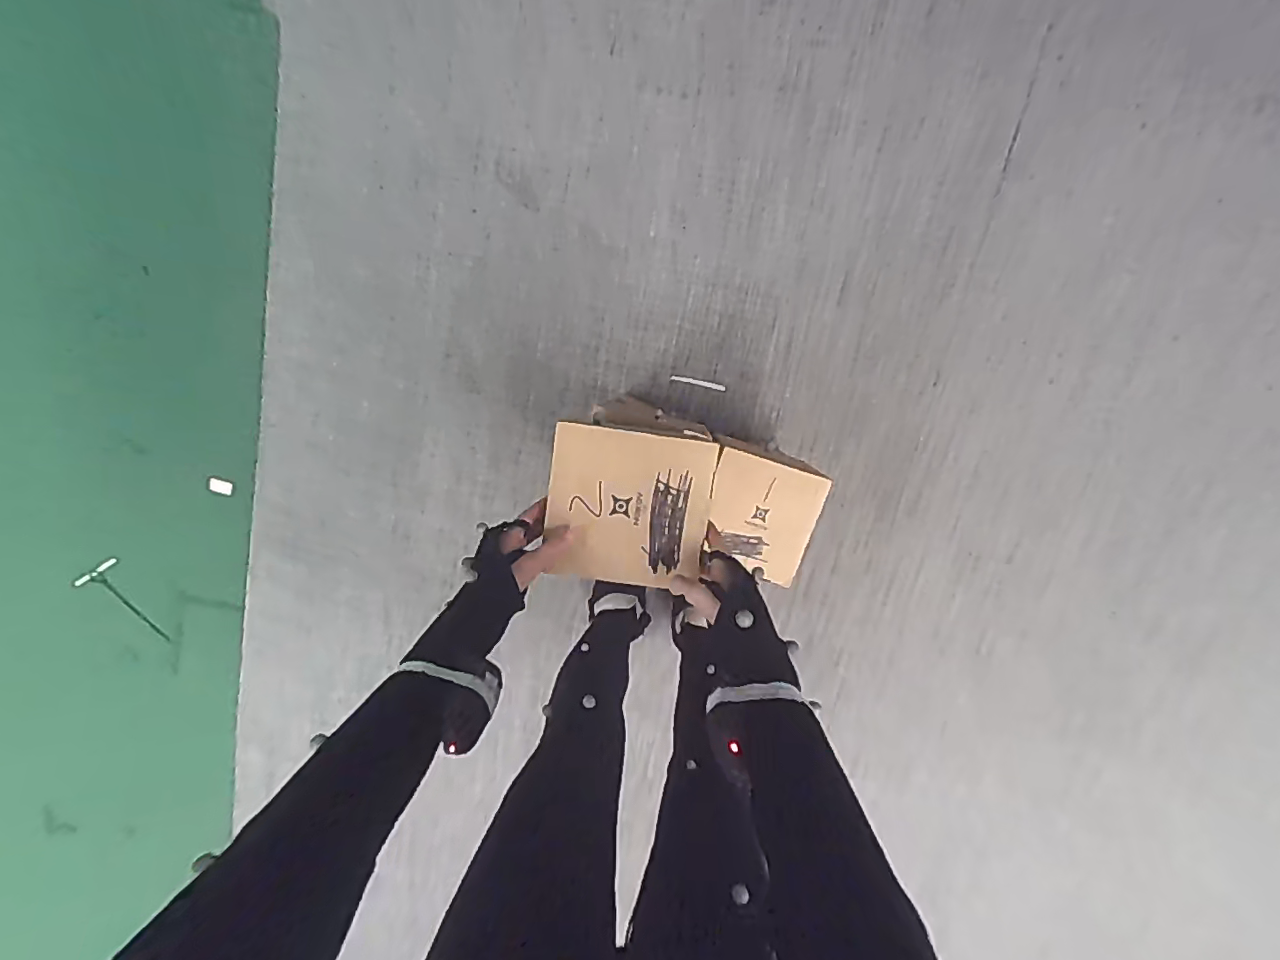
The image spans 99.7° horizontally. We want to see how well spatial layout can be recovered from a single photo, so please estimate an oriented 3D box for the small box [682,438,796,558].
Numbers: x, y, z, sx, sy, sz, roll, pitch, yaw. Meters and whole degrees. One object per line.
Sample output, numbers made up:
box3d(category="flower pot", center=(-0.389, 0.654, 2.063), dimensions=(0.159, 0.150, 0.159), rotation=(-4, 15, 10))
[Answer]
box3d(category="small box", center=(0.177, 0.025, 1.030), dimensions=(0.168, 0.176, 0.179), rotation=(13, 102, 0))
